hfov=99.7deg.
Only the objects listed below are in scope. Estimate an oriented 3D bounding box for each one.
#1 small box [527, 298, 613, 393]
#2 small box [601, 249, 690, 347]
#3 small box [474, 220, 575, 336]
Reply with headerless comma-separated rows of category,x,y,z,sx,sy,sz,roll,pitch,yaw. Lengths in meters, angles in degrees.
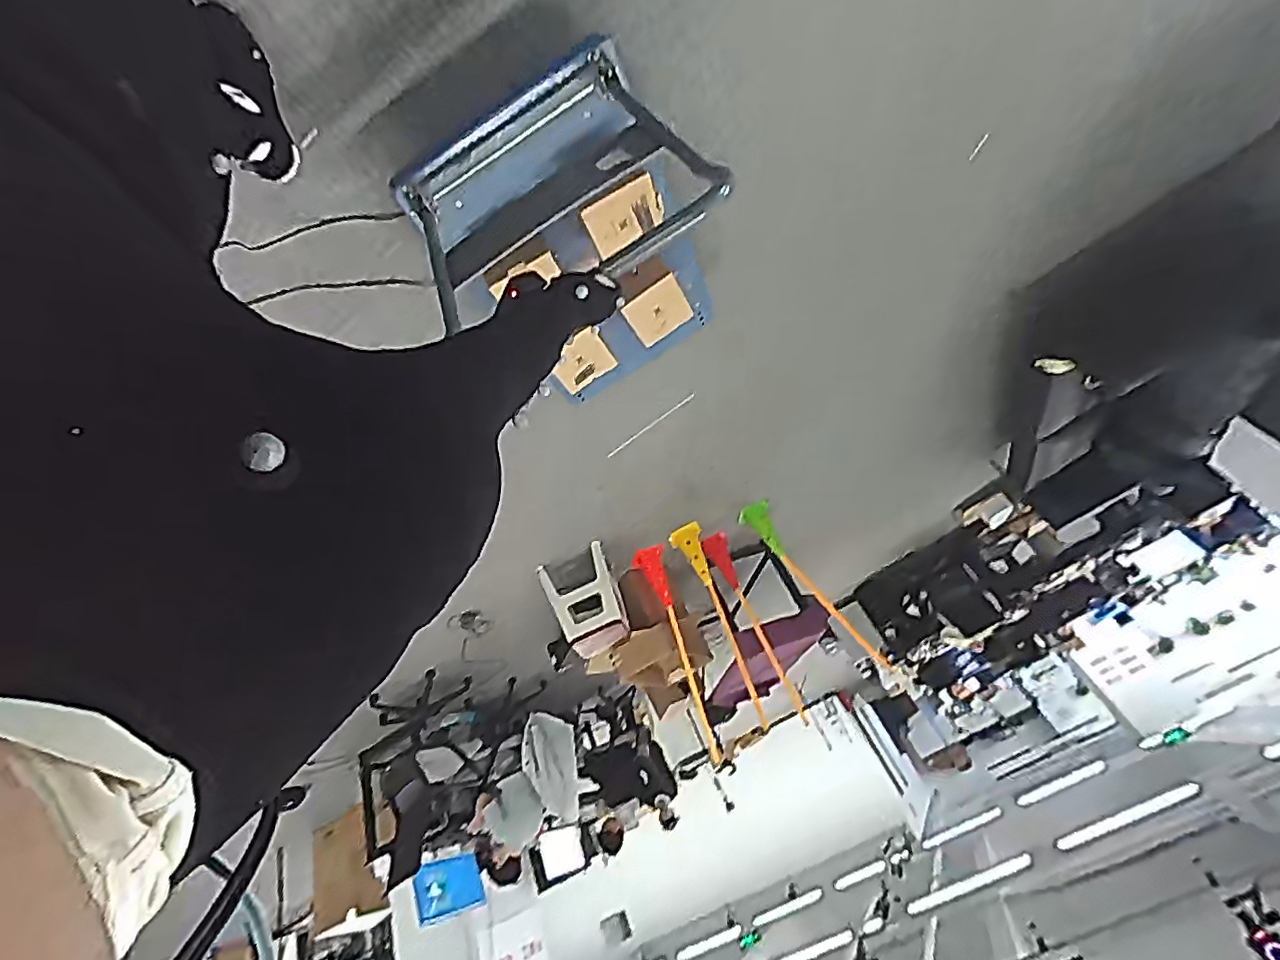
small box,-0.205,-0.391,1.556,0.168,0.176,0.179,-32,145,7
small box,0.013,-0.520,1.528,0.168,0.176,0.179,-32,146,9
small box,-0.289,-0.506,1.352,0.168,0.176,0.179,-30,145,4
